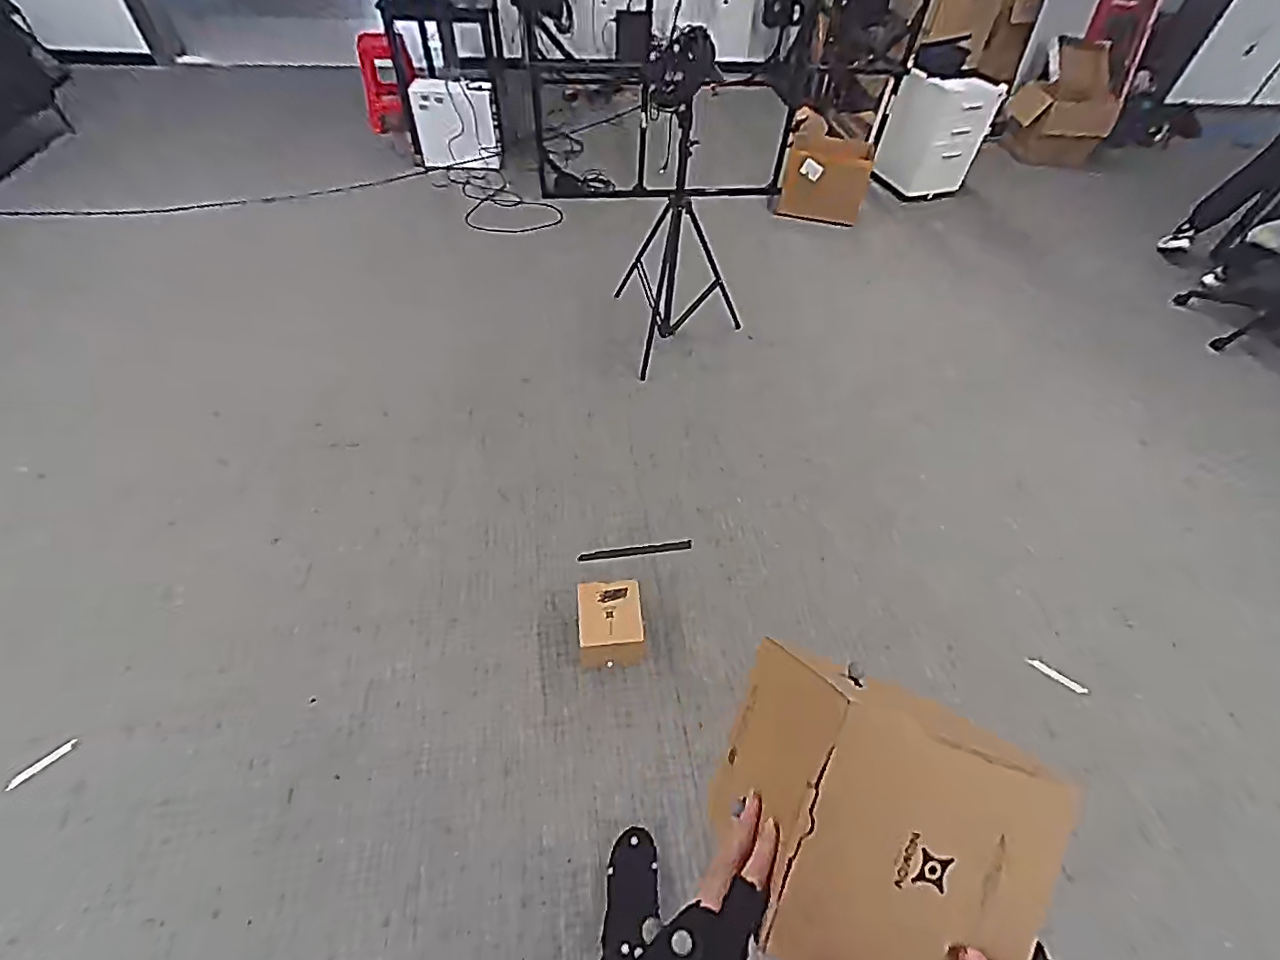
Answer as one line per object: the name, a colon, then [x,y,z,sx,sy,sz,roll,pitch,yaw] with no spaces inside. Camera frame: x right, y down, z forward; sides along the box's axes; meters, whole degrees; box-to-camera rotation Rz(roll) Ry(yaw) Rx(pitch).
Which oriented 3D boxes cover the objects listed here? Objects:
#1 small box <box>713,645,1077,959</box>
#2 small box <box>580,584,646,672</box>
small box: [0.174,0.247,0.426,0.179,0.176,0.168,21,87,-5]
small box: [-0.078,0.404,1.477,0.168,0.176,0.179,-3,53,-6]
